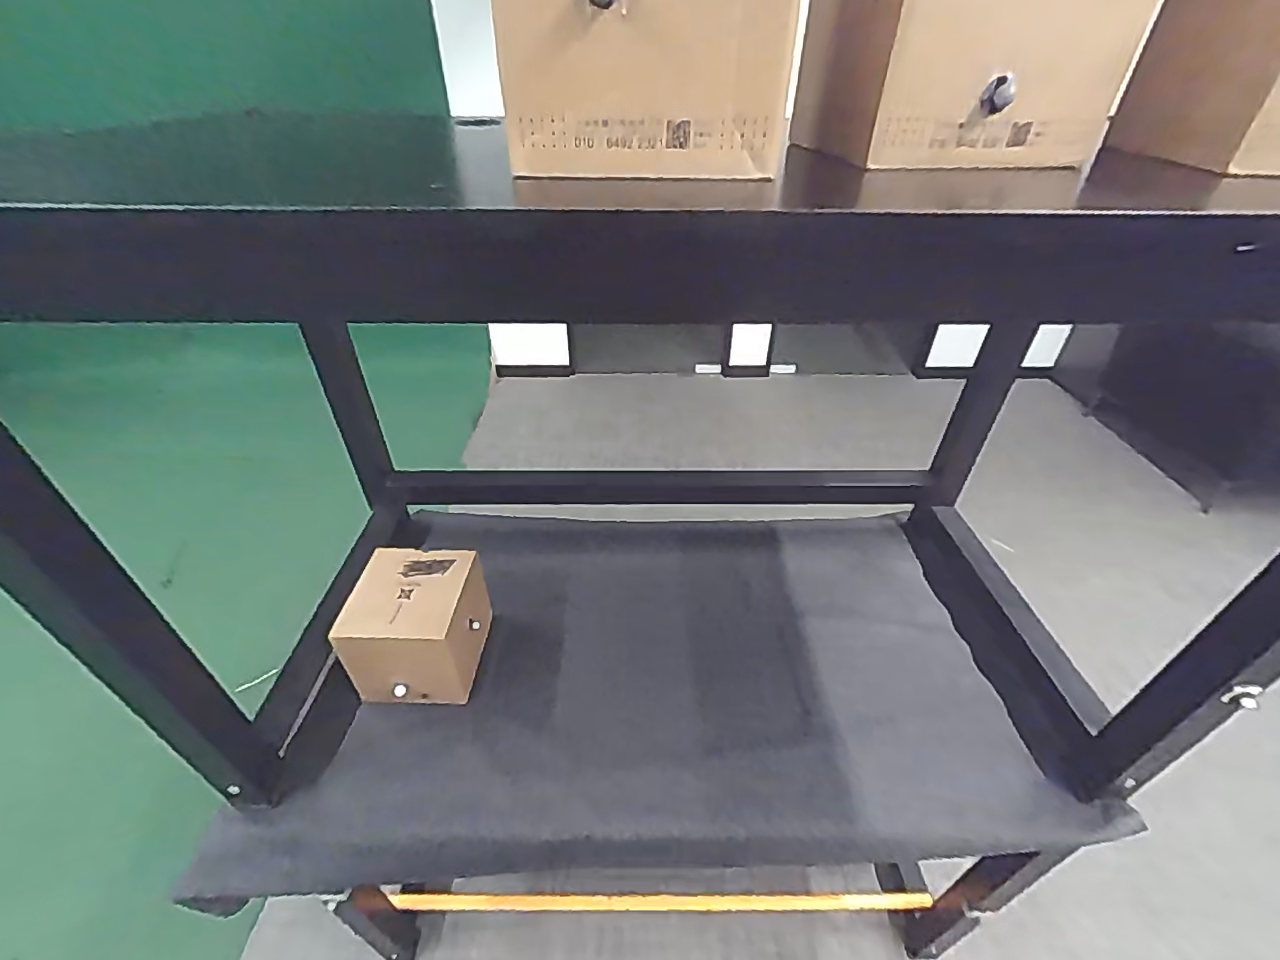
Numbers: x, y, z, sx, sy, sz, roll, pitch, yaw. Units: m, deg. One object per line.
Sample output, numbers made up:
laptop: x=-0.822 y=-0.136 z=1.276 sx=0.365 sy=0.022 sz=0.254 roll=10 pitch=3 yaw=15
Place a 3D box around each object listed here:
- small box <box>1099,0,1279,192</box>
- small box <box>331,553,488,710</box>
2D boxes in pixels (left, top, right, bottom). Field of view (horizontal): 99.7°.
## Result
small box: x=0.477 y=-0.296 z=0.369 sx=0.168 sy=0.176 sz=0.179 roll=7 pitch=37 yaw=8
small box: x=-0.349 y=0.238 z=0.862 sx=0.168 sy=0.176 sz=0.179 roll=1 pitch=37 yaw=0
